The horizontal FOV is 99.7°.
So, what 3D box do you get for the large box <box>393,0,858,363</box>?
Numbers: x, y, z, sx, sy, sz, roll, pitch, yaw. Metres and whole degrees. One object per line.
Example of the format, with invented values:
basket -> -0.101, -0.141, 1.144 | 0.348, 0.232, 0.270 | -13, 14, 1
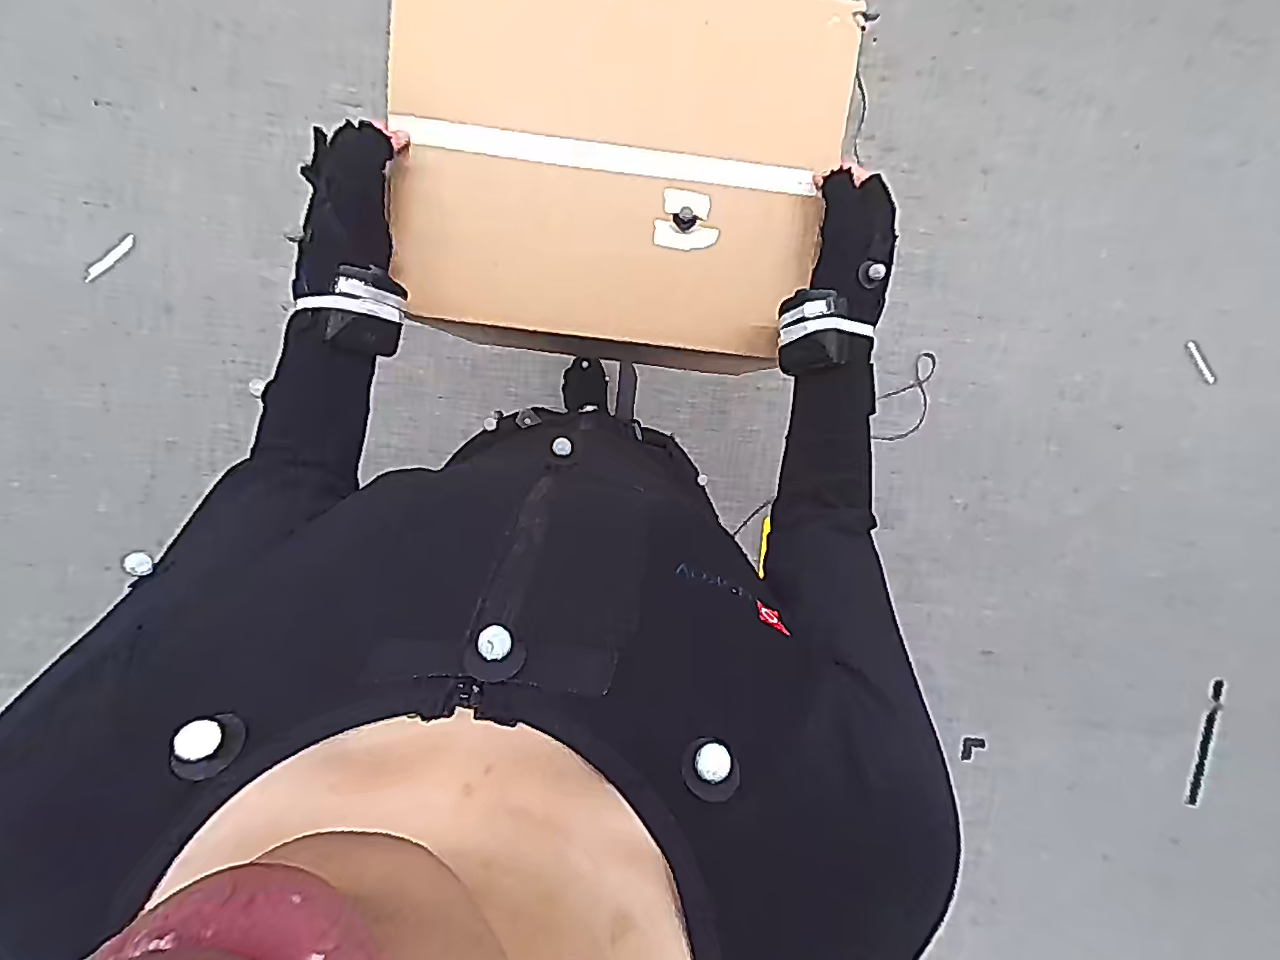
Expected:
large box -> -0.025, -0.322, 0.635 | 0.408, 0.320, 0.320 | 6, 99, -4
